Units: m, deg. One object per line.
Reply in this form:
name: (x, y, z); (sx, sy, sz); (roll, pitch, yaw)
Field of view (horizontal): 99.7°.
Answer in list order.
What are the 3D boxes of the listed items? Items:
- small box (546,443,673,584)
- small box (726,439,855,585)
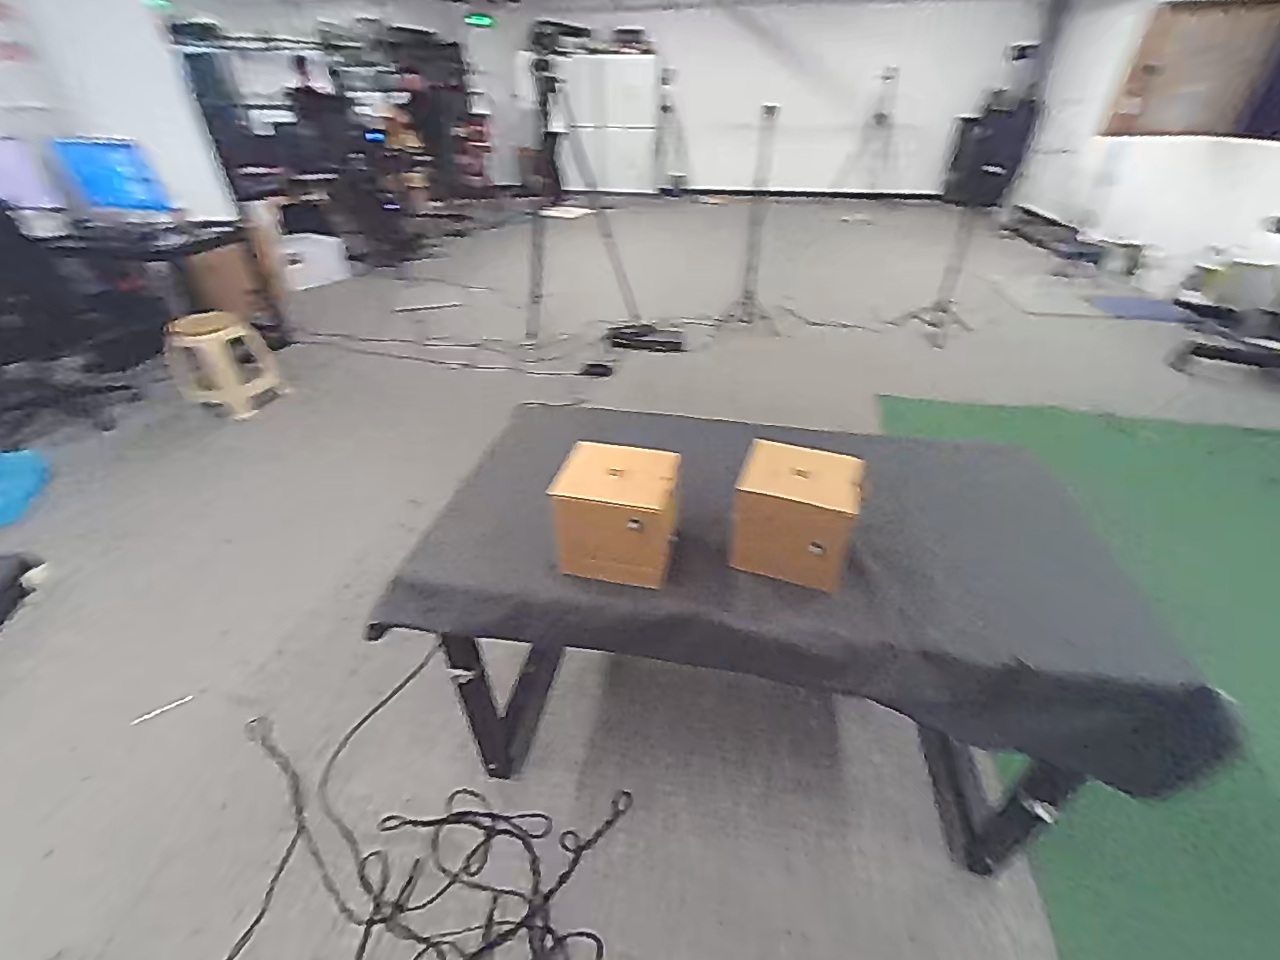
small box: (-0.044, 0.056, 0.916); (0.179, 0.176, 0.168); (7, 35, 10)
small box: (0.253, 0.053, 0.915); (0.179, 0.176, 0.168); (11, 35, 18)
